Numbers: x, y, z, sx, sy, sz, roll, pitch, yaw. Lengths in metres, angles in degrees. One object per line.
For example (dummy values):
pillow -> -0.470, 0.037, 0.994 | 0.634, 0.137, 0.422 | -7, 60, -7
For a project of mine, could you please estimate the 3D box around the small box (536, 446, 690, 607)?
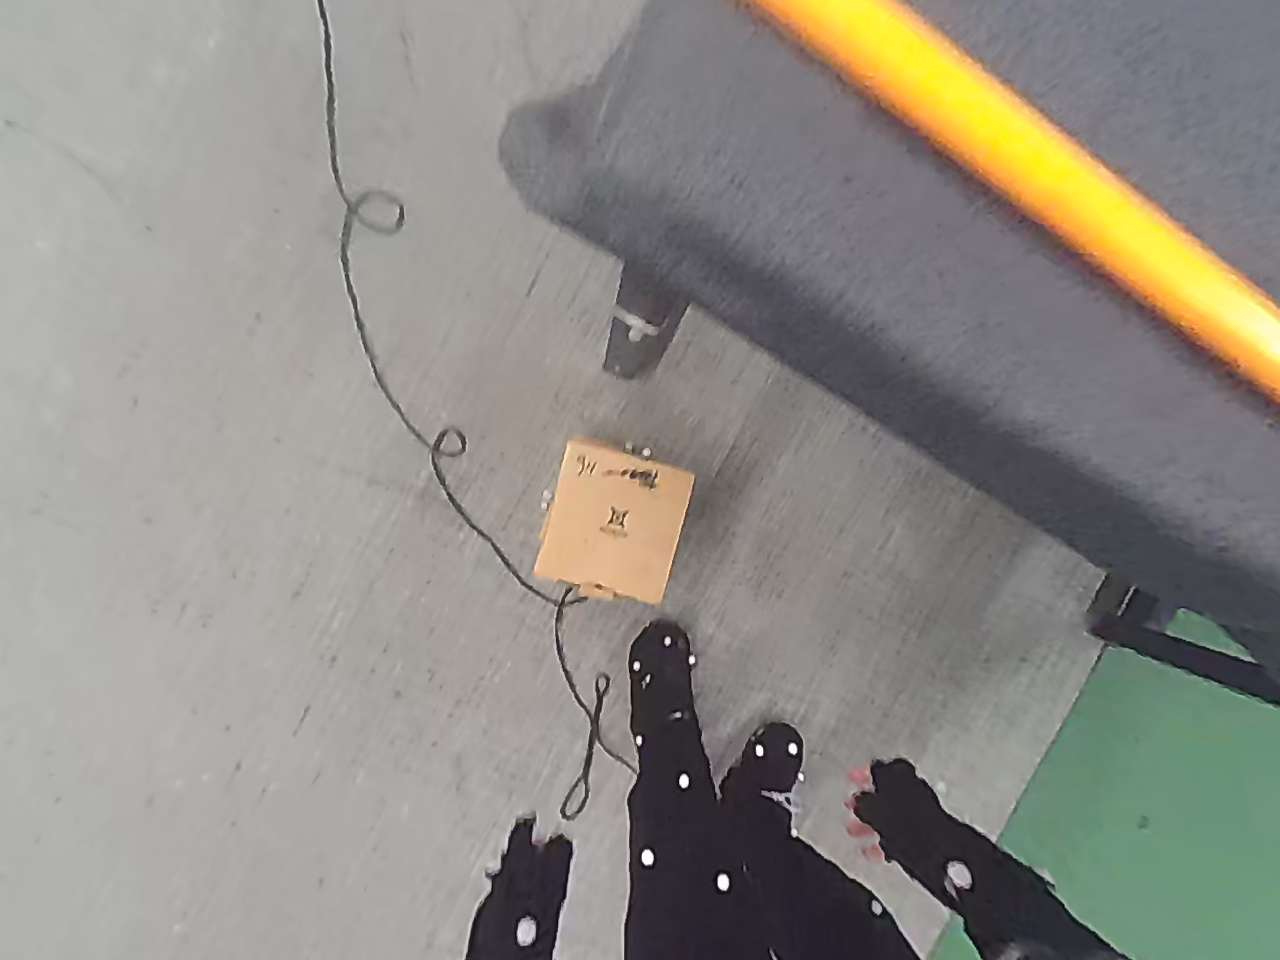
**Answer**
small box -> -0.037, 0.055, 0.755 | 0.168, 0.176, 0.179 | 12, 92, -4
